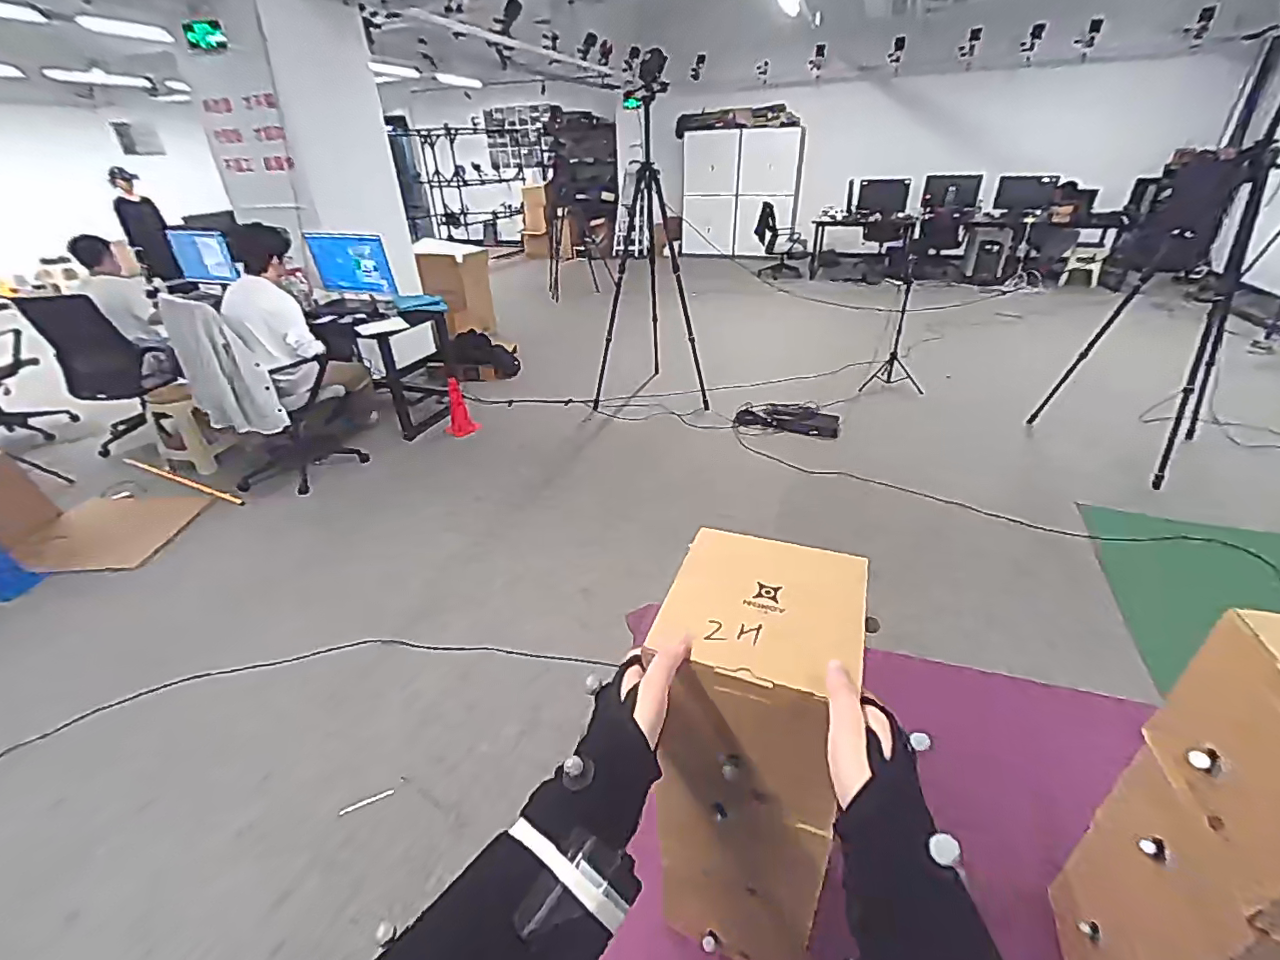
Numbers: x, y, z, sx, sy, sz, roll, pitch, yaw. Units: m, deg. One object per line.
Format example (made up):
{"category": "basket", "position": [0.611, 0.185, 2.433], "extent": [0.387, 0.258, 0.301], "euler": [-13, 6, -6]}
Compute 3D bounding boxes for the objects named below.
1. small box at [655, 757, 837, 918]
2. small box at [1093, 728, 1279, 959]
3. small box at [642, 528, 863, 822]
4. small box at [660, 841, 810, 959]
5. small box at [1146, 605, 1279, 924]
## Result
{"category": "small box", "position": [0.123, 0.319, 0.595], "extent": [0.168, 0.176, 0.179], "euler": [9, 32, 22]}
{"category": "small box", "position": [0.557, 0.365, 0.482], "extent": [0.168, 0.176, 0.179], "euler": [7, 30, 16]}
{"category": "small box", "position": [0.109, 0.174, 0.515], "extent": [0.168, 0.176, 0.179], "euler": [8, 33, 20]}
{"category": "small box", "position": [0.131, 0.461, 0.678], "extent": [0.168, 0.176, 0.179], "euler": [10, 33, 21]}
{"category": "small box", "position": [0.548, 0.223, 0.403], "extent": [0.179, 0.176, 0.168], "euler": [6, 31, 15]}
